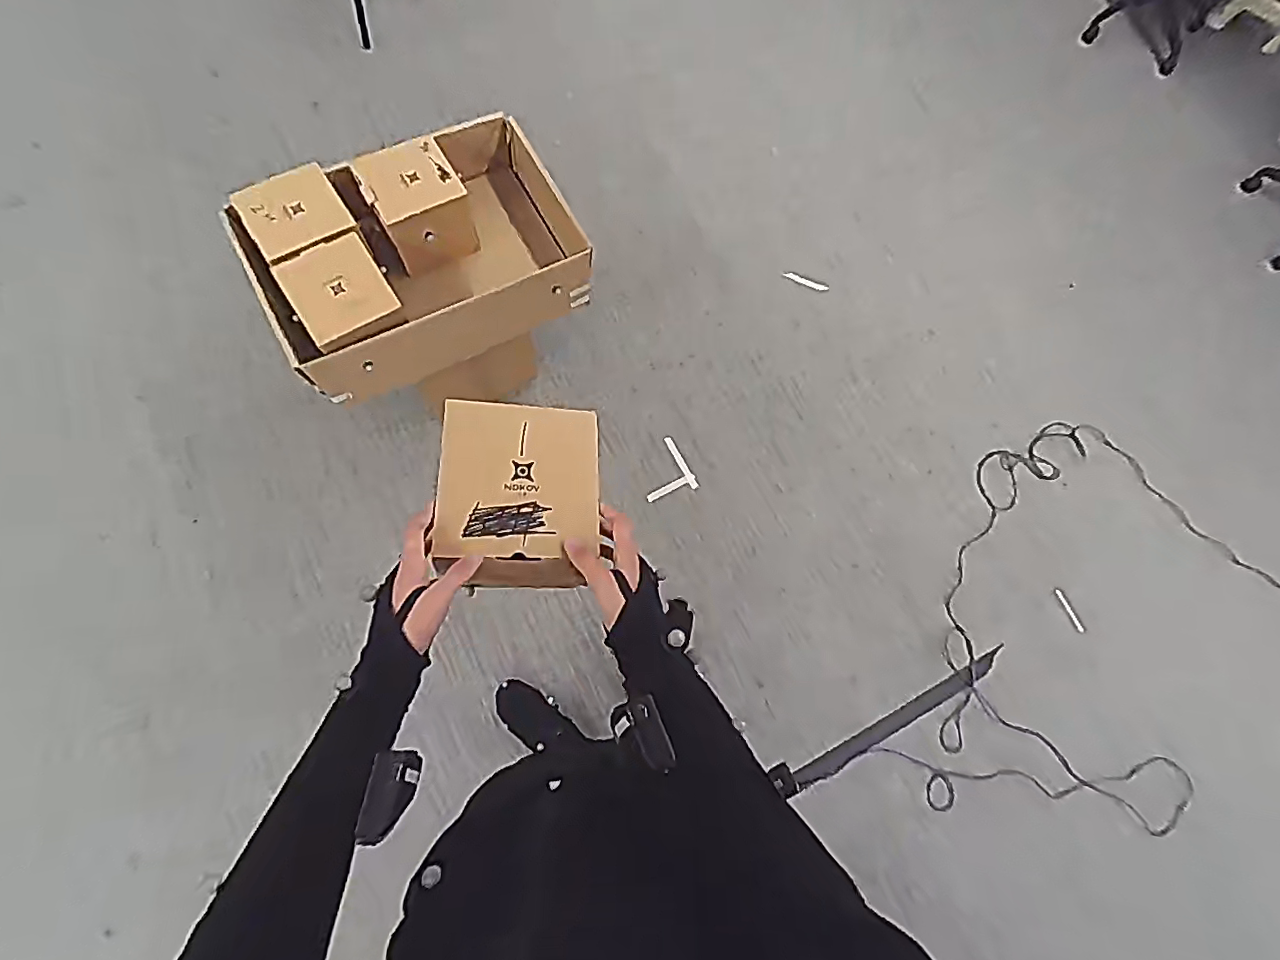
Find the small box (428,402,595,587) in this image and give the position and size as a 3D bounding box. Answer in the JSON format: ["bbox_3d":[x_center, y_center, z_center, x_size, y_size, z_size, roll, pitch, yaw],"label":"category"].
[{"bbox_3d":[-0.147,0.029,0.639,0.168,0.176,0.179,3,68,-15],"label":"small box"}]
